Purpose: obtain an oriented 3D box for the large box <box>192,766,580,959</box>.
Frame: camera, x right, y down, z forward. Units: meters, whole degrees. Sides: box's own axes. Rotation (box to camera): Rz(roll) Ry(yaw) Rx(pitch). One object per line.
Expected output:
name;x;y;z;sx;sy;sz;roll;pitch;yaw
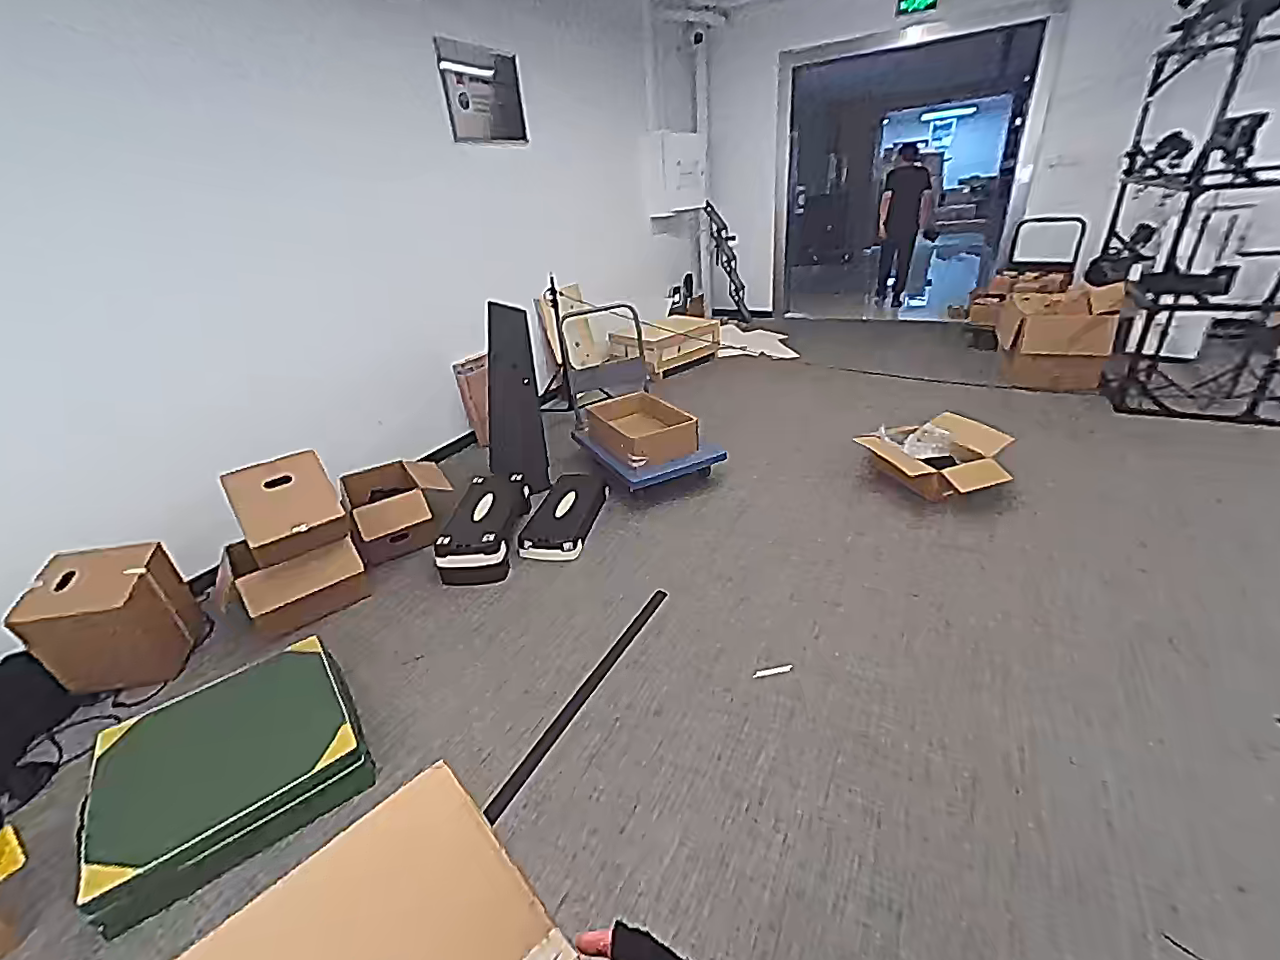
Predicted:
large box;-0.198;0.497;0.336;0.408;0.320;0.320;-30;51;-33
